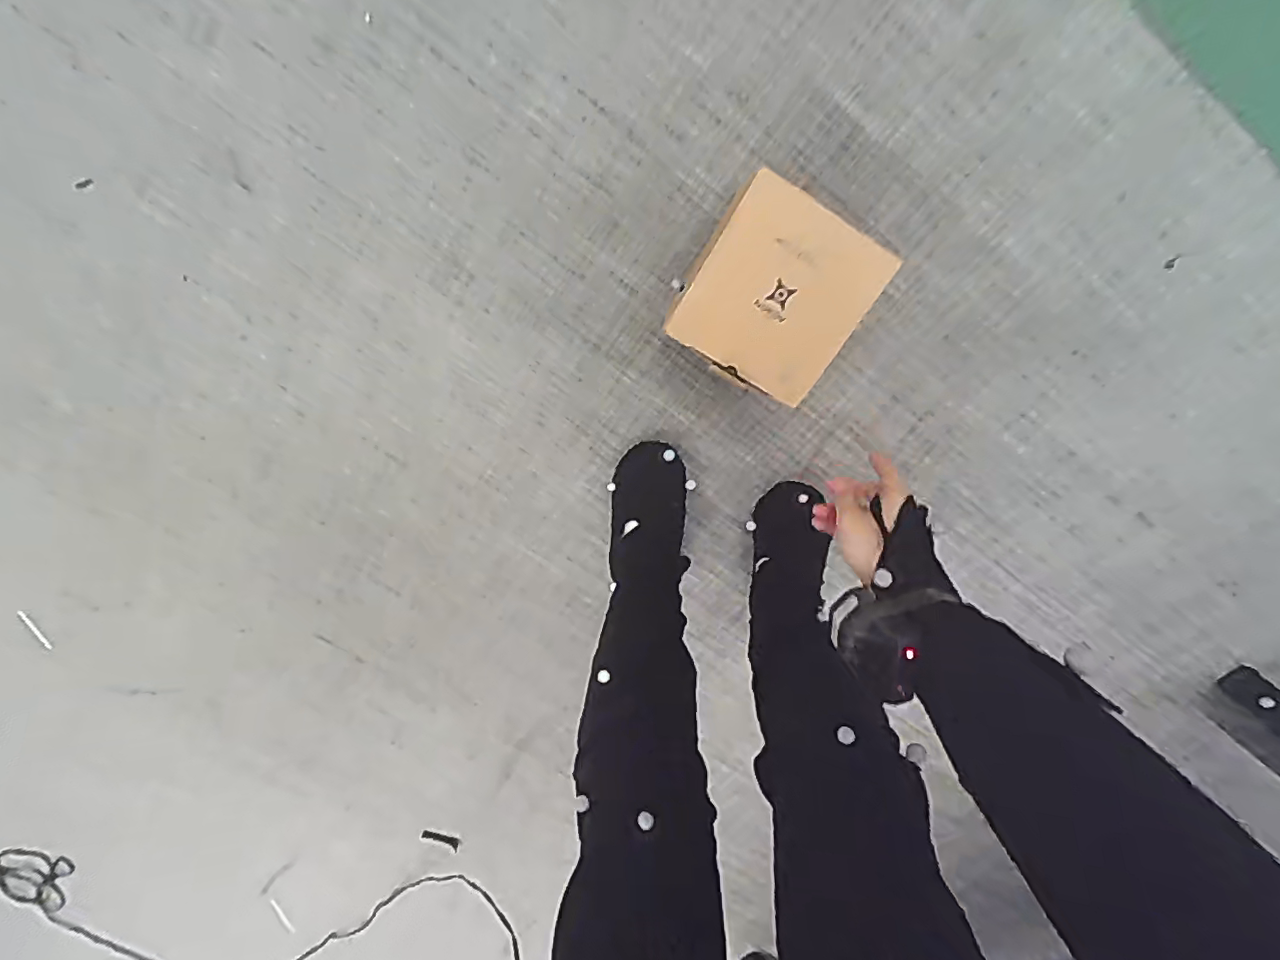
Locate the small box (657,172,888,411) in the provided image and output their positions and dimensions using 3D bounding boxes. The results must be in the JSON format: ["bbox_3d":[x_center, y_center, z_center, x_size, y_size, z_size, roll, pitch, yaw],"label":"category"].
[{"bbox_3d":[0.135,-0.210,0.615,0.168,0.176,0.179,29,111,-9],"label":"small box"}]
